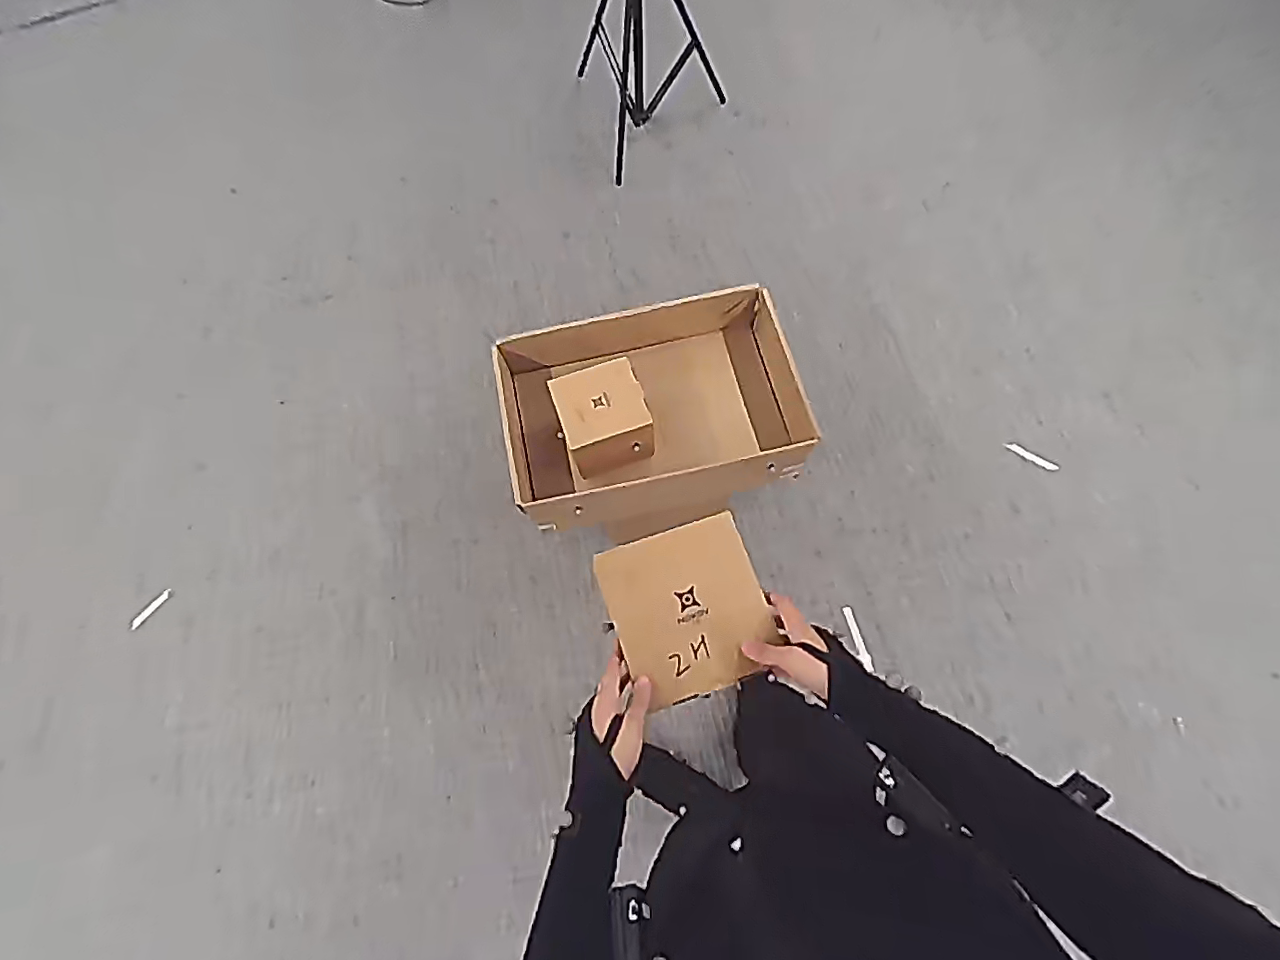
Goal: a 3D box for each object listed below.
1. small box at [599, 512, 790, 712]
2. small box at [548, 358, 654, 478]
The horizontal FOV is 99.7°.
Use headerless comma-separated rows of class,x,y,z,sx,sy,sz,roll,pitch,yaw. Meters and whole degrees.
small box,0.052,0.160,0.657,0.168,0.176,0.179,-17,75,-8
small box,-0.079,-0.125,1.147,0.179,0.176,0.168,-19,71,-5
